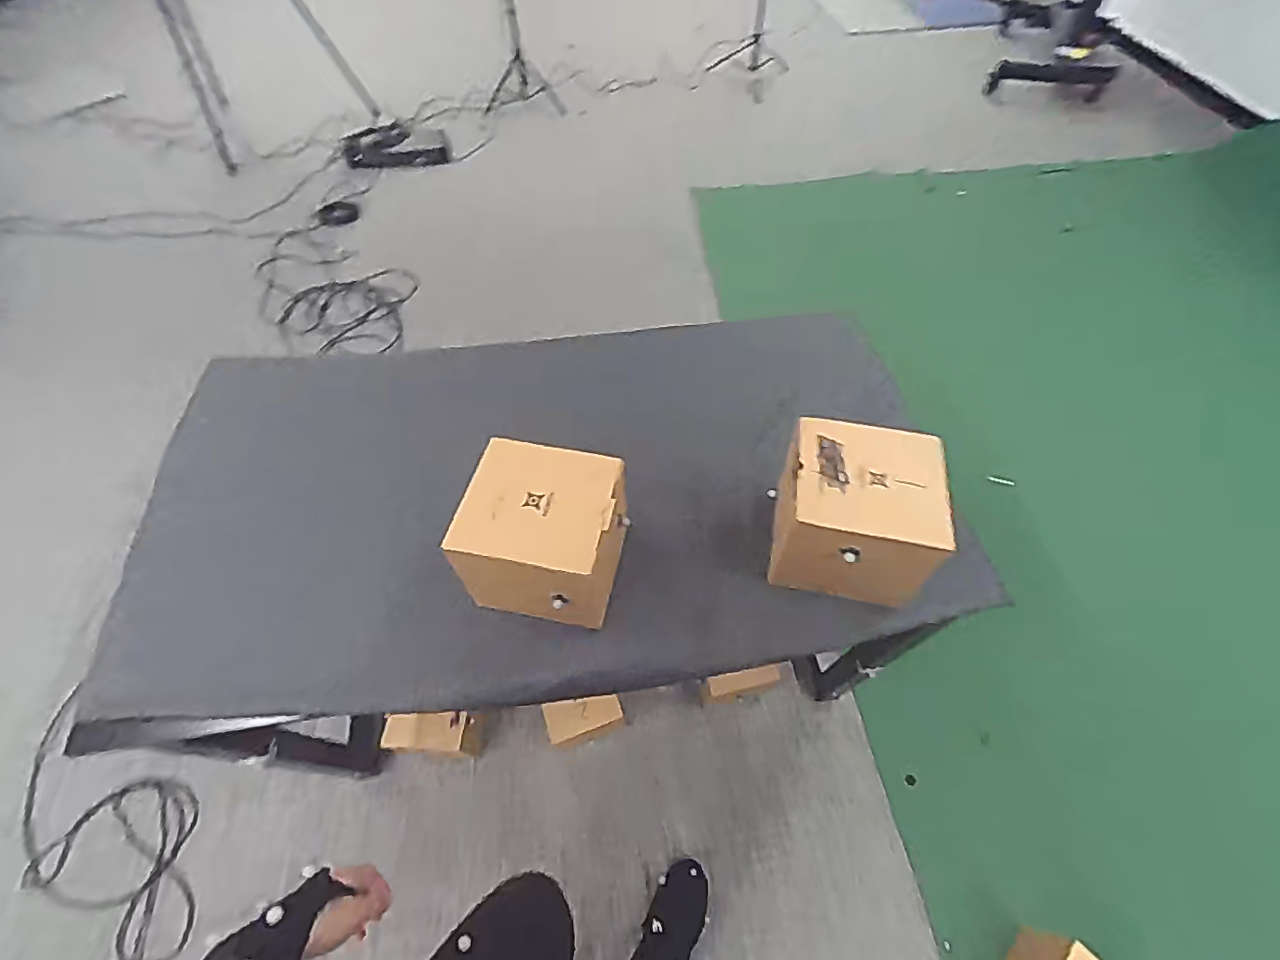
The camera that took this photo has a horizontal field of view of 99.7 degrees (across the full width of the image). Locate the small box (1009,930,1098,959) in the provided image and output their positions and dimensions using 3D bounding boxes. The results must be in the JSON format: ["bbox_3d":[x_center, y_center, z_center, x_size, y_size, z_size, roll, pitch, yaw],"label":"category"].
[{"bbox_3d":[0.785,0.976,0.985,0.179,0.176,0.168,-39,66,-21],"label":"small box"}]

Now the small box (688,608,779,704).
[{"bbox_3d":[0.221,0.437,1.324,0.168,0.176,0.179,-11,58,-7],"label":"small box"}]

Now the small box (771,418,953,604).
[{"bbox_3d":[0.274,0.045,0.706,0.179,0.176,0.168,10,56,8],"label":"small box"}]

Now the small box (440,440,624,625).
[{"bbox_3d":[-0.121,0.074,0.698,0.179,0.176,0.168,8,55,7],"label":"small box"}]

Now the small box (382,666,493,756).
[{"bbox_3d":[-0.463,0.545,1.265,0.179,0.176,0.168,2,58,3],"label":"small box"}]
